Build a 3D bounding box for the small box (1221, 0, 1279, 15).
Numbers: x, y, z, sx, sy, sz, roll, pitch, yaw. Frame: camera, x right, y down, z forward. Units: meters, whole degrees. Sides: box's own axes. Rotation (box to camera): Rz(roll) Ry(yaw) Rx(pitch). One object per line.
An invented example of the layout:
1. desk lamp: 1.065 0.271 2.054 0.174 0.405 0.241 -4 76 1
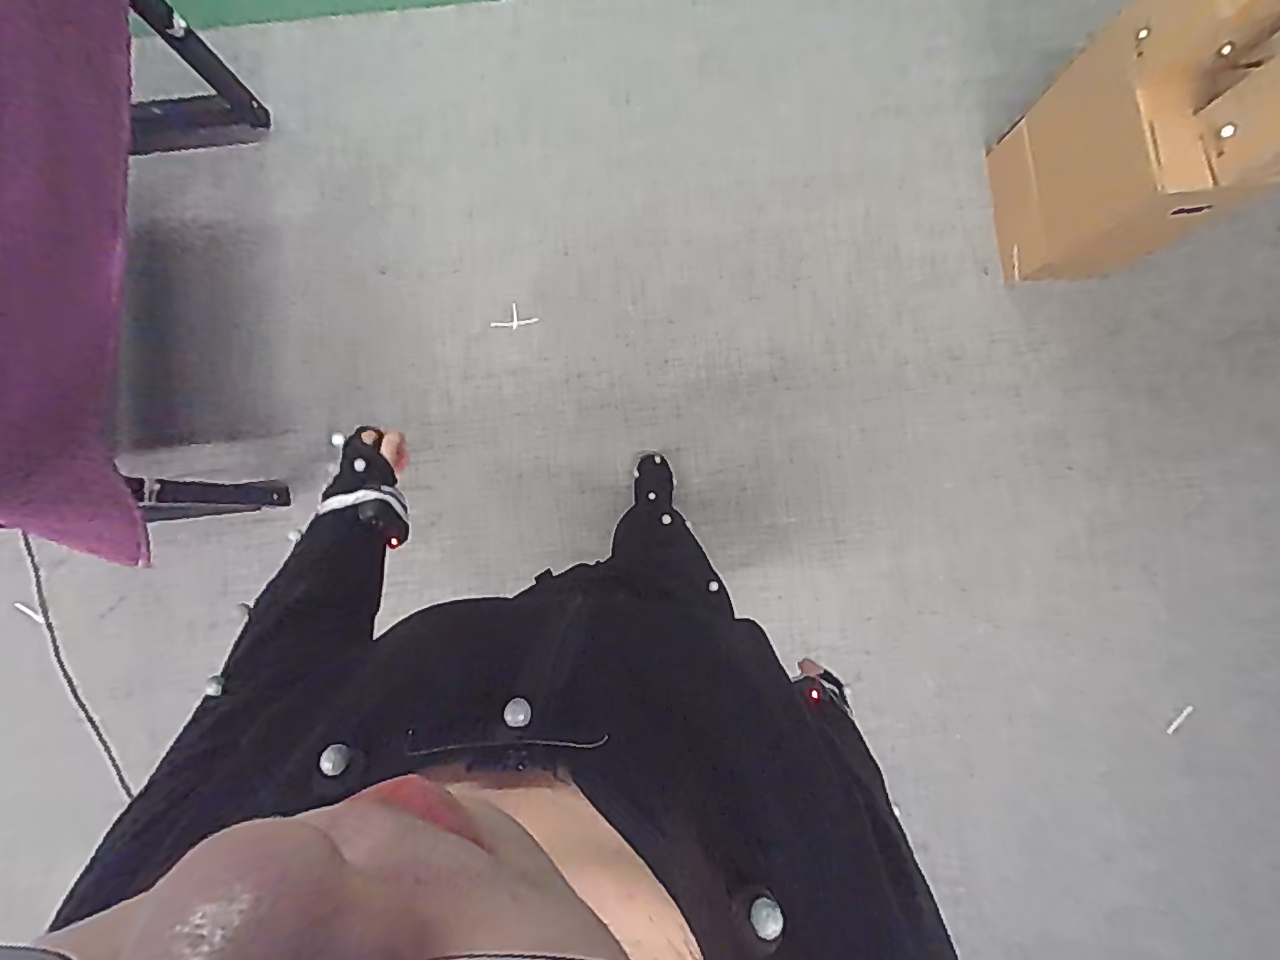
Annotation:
1. small box: 1.094 -0.905 0.872 0.179 0.176 0.168 -10 88 1
